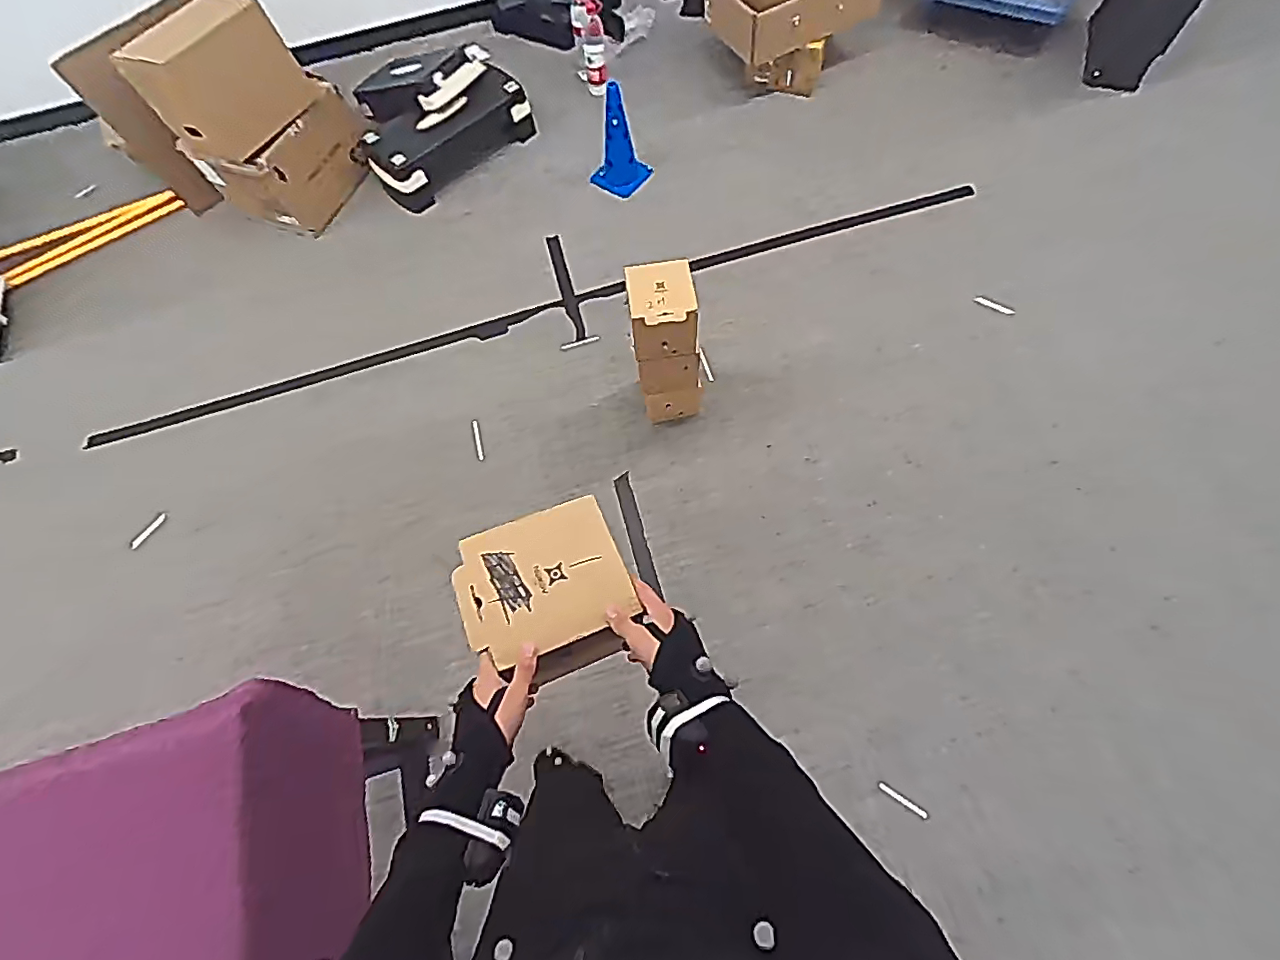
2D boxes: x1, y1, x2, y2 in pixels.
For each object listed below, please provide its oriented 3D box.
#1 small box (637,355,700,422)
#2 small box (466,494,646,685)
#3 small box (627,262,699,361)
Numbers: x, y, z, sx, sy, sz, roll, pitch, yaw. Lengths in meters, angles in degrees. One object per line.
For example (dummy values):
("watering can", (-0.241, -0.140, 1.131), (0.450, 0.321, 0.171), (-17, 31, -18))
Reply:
("small box", (0.093, -0.300, 1.723), (0.168, 0.176, 0.179), (-12, 66, -1))
("small box", (-0.103, 0.148, 0.700), (0.179, 0.176, 0.168), (-19, 64, -13))
("small box", (0.058, -0.440, 1.425), (0.168, 0.176, 0.179), (-7, 66, 0))
